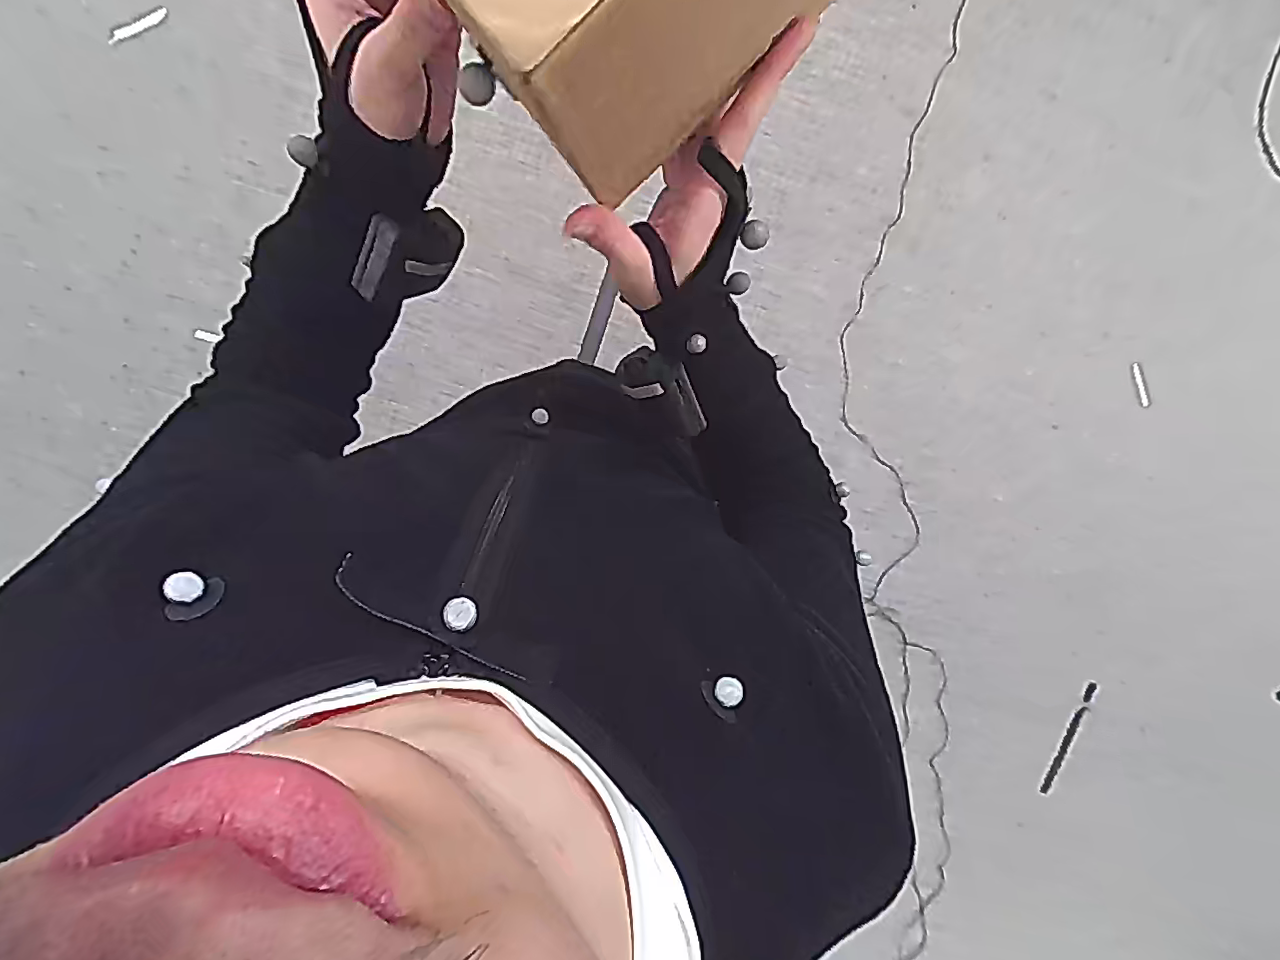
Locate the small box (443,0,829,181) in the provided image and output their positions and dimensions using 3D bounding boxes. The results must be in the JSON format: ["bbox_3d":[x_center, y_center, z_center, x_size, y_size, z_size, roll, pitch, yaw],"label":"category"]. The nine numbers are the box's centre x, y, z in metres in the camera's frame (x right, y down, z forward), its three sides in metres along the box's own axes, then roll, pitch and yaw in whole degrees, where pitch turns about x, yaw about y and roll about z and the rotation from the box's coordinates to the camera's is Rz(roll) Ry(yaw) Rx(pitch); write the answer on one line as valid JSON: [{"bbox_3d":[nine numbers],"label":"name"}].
[{"bbox_3d":[-0.012,-0.233,0.179,0.168,0.176,0.179,-39,100,12],"label":"small box"}]
